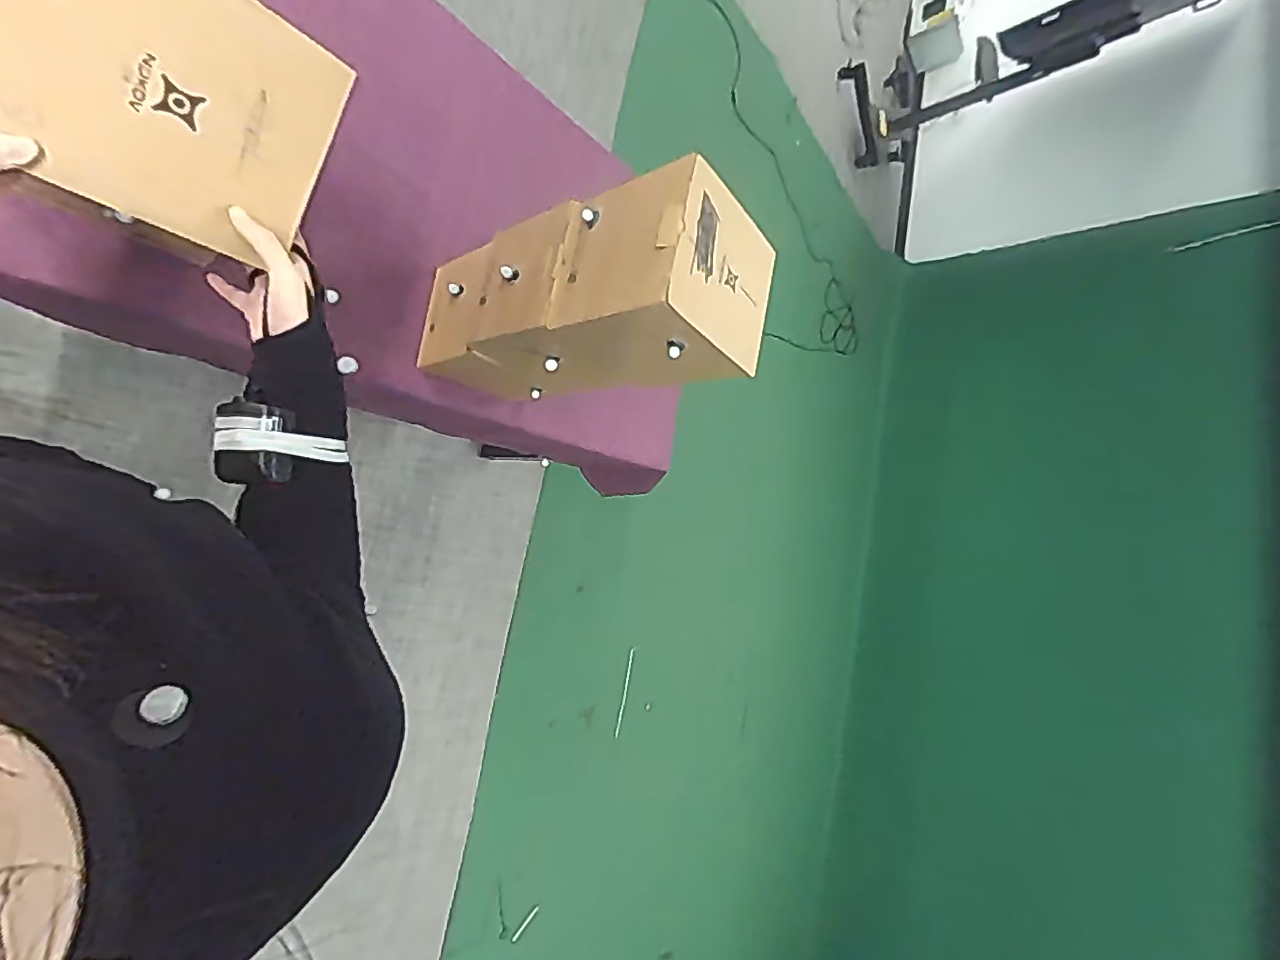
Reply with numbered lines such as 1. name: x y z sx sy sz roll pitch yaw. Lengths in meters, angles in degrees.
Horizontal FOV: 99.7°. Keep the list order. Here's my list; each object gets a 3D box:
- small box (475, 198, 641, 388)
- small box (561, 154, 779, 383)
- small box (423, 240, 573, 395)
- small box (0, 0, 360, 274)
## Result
1. small box: -0.093 -0.230 0.726 0.179 0.176 0.168 22 76 -46
2. small box: 0.035 -0.220 0.622 0.179 0.176 0.168 23 75 -48
3. small box: -0.209 -0.235 0.841 0.179 0.176 0.168 17 80 -48
4. small box: -0.346 -0.289 0.401 0.179 0.176 0.168 16 112 -47
